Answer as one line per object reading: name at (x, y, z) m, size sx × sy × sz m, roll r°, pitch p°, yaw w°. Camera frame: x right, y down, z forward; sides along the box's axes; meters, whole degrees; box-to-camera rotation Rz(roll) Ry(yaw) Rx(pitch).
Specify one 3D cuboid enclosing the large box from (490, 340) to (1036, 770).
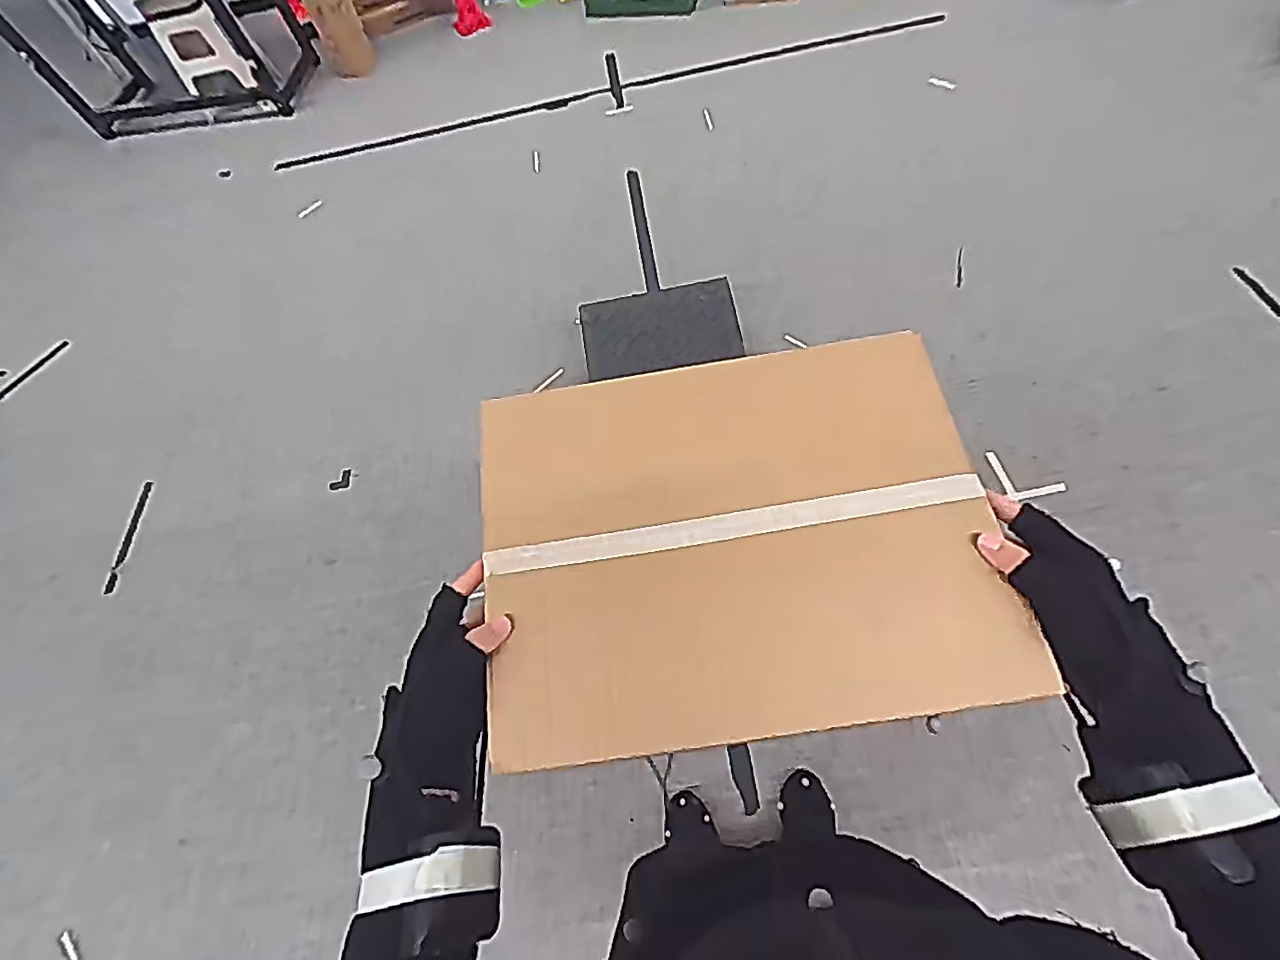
large box at (0.089, 0.096, 0.590) m, size 0.408 × 0.320 × 0.320 m, roll -9°, pitch 67°, yaw 2°
